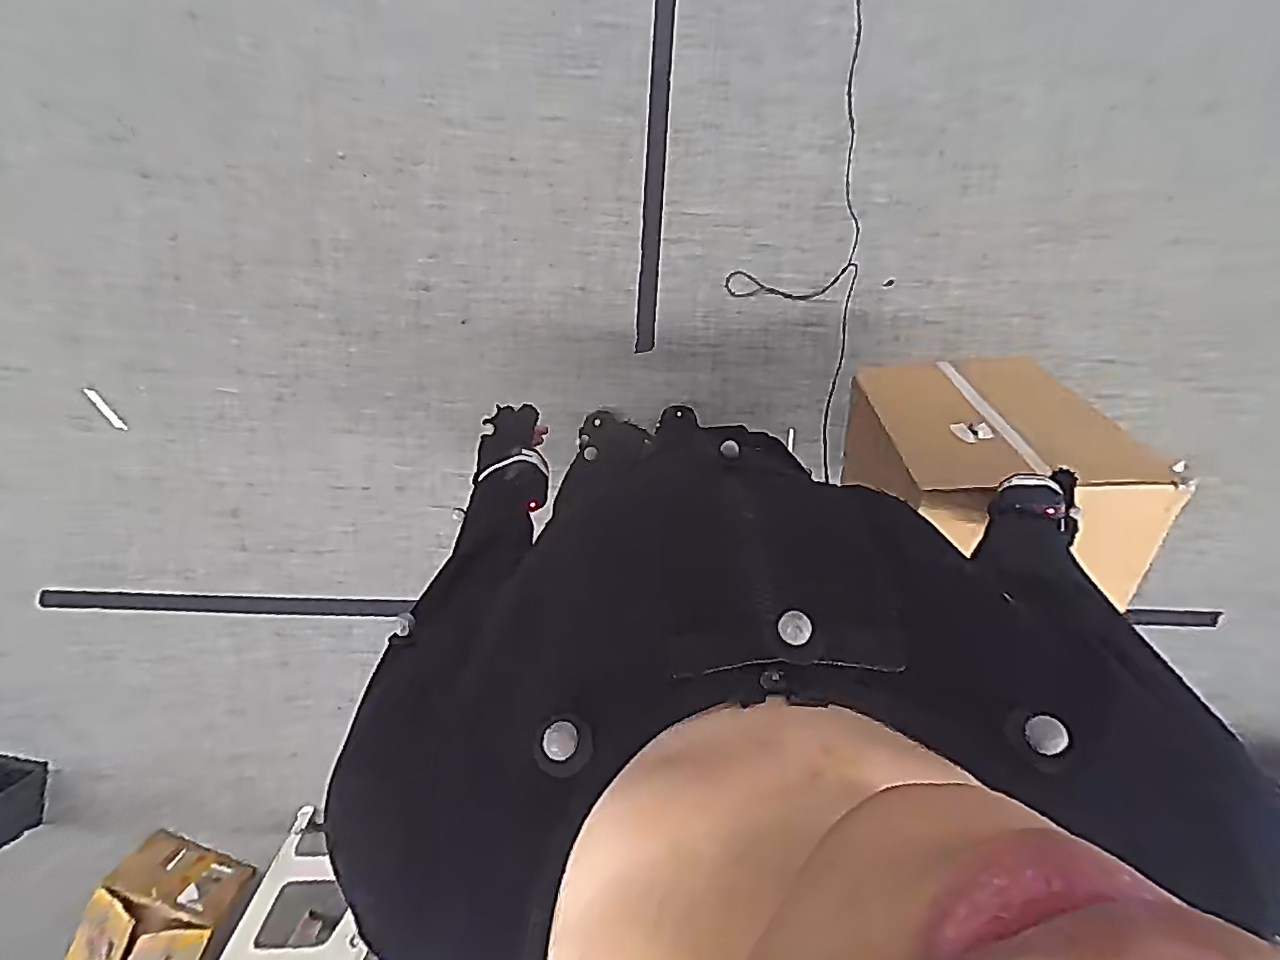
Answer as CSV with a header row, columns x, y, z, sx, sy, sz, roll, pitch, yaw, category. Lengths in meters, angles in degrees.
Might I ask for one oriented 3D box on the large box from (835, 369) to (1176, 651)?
x,y,z,sx,sy,sz,roll,pitch,yaw,category
0.554,0.036,0.942,0.320,0.408,0.320,-4,124,8,large box
